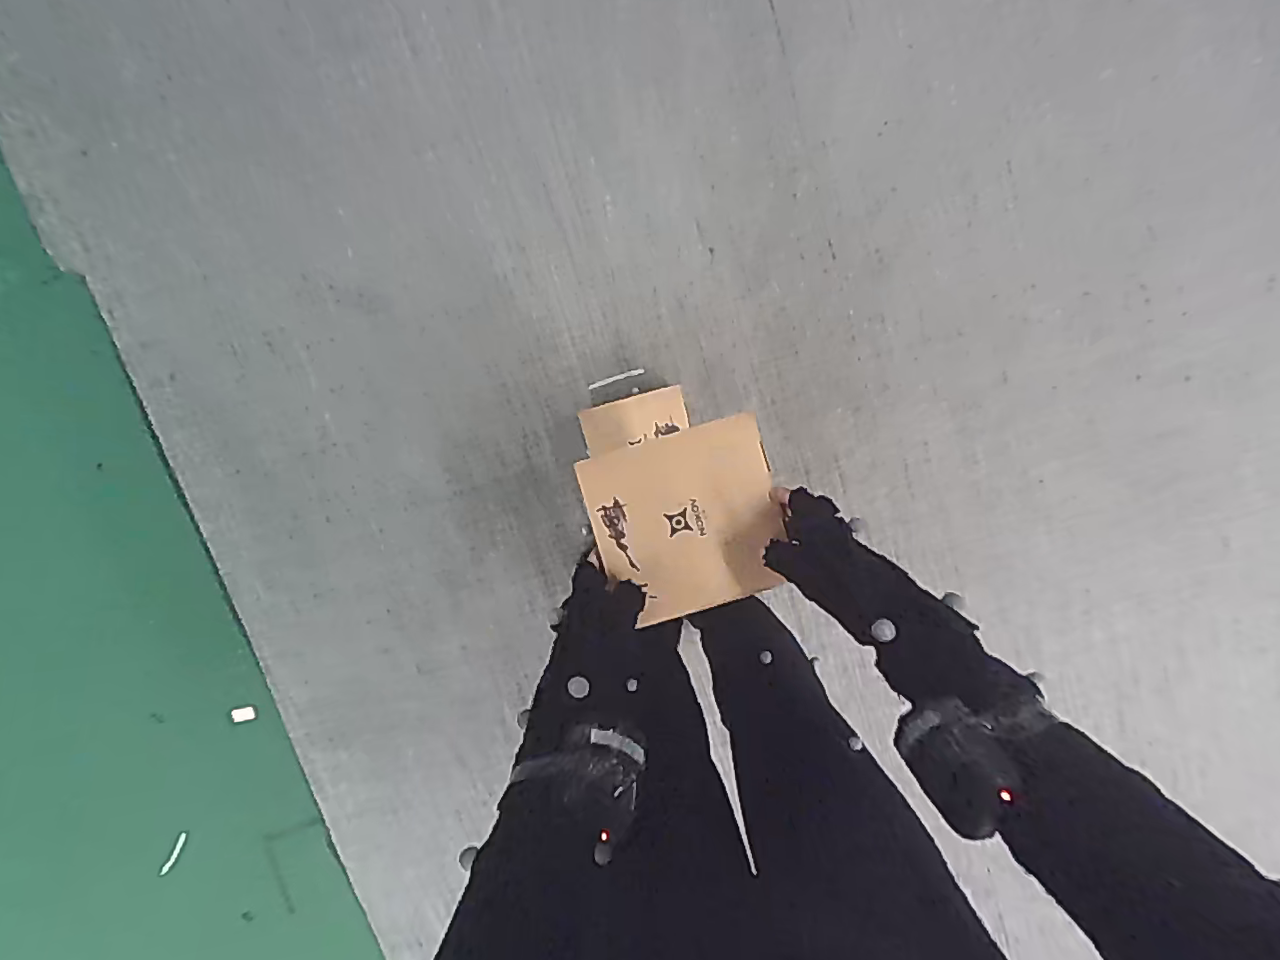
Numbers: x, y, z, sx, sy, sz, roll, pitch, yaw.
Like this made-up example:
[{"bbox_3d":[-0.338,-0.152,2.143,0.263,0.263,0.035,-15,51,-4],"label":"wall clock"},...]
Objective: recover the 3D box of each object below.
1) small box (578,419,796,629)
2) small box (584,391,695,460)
[{"bbox_3d":[0.044,0.043,0.590,0.179,0.176,0.168,-16,87,0],"label":"small box"},{"bbox_3d":[0.008,-0.060,0.967,0.179,0.176,0.168,-12,96,2],"label":"small box"}]
